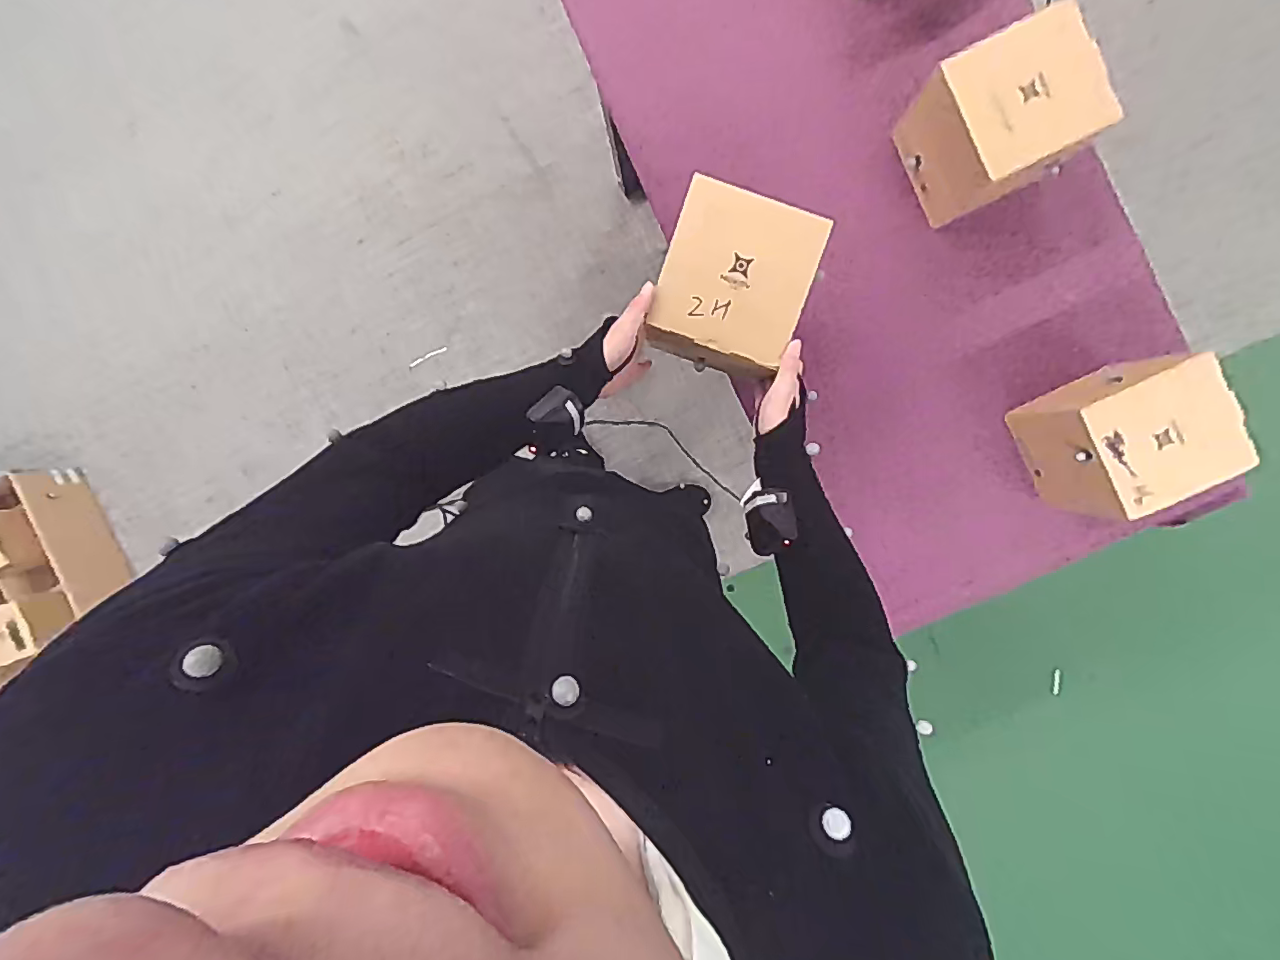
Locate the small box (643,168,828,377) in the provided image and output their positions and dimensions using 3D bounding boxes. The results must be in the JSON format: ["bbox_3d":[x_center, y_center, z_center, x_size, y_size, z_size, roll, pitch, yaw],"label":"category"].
[{"bbox_3d":[0.107,-0.244,0.683,0.168,0.176,0.179,20,95,0],"label":"small box"}]

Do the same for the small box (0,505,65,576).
[{"bbox_3d":[-1.927,0.190,1.633,0.179,0.176,0.168,-26,93,4],"label":"small box"}]

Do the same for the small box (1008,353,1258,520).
[{"bbox_3d":[0.688,-0.061,0.777,0.179,0.176,0.168,-26,92,5],"label":"small box"}]

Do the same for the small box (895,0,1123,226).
[{"bbox_3d":[0.497,-0.493,0.755,0.179,0.176,0.168,-25,92,6],"label":"small box"}]
